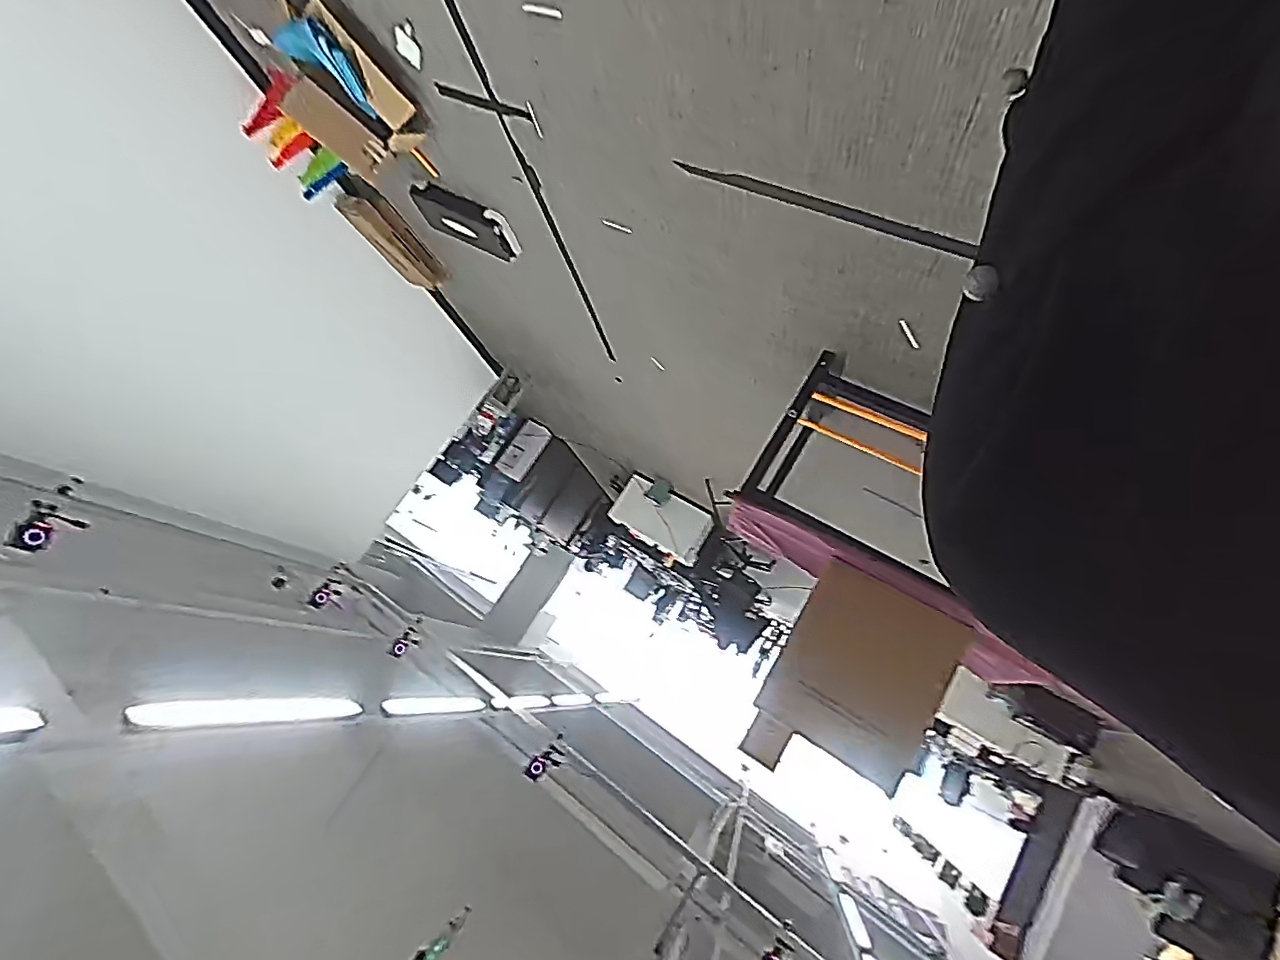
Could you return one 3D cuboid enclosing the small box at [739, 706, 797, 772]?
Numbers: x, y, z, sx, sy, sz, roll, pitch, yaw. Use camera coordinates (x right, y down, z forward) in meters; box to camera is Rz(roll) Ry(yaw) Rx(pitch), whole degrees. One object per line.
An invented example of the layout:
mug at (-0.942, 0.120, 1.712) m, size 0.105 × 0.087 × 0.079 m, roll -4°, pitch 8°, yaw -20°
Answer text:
small box at (0.501, 1.006, 2.116) m, size 0.168 × 0.176 × 0.179 m, roll 28°, pitch 167°, yaw 21°
